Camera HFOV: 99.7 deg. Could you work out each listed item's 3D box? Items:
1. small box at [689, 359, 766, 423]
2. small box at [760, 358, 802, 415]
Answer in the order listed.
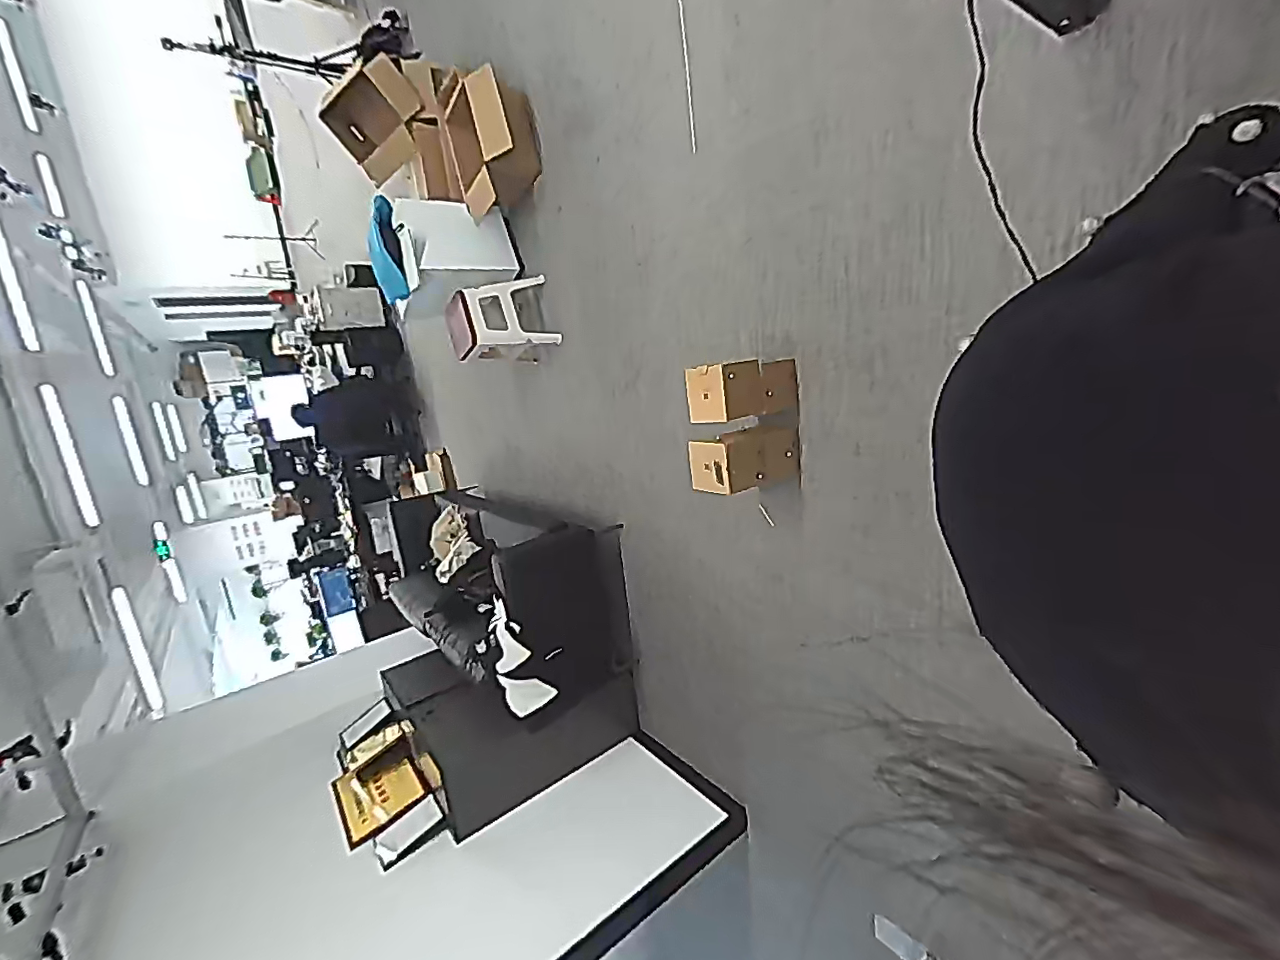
[{"bbox_3d":[0.282,-0.280,1.716,0.168,0.176,0.179,6,107,53],"label":"small box"},{"bbox_3d":[0.414,-0.311,1.806,0.179,0.176,0.168,8,110,54],"label":"small box"}]
